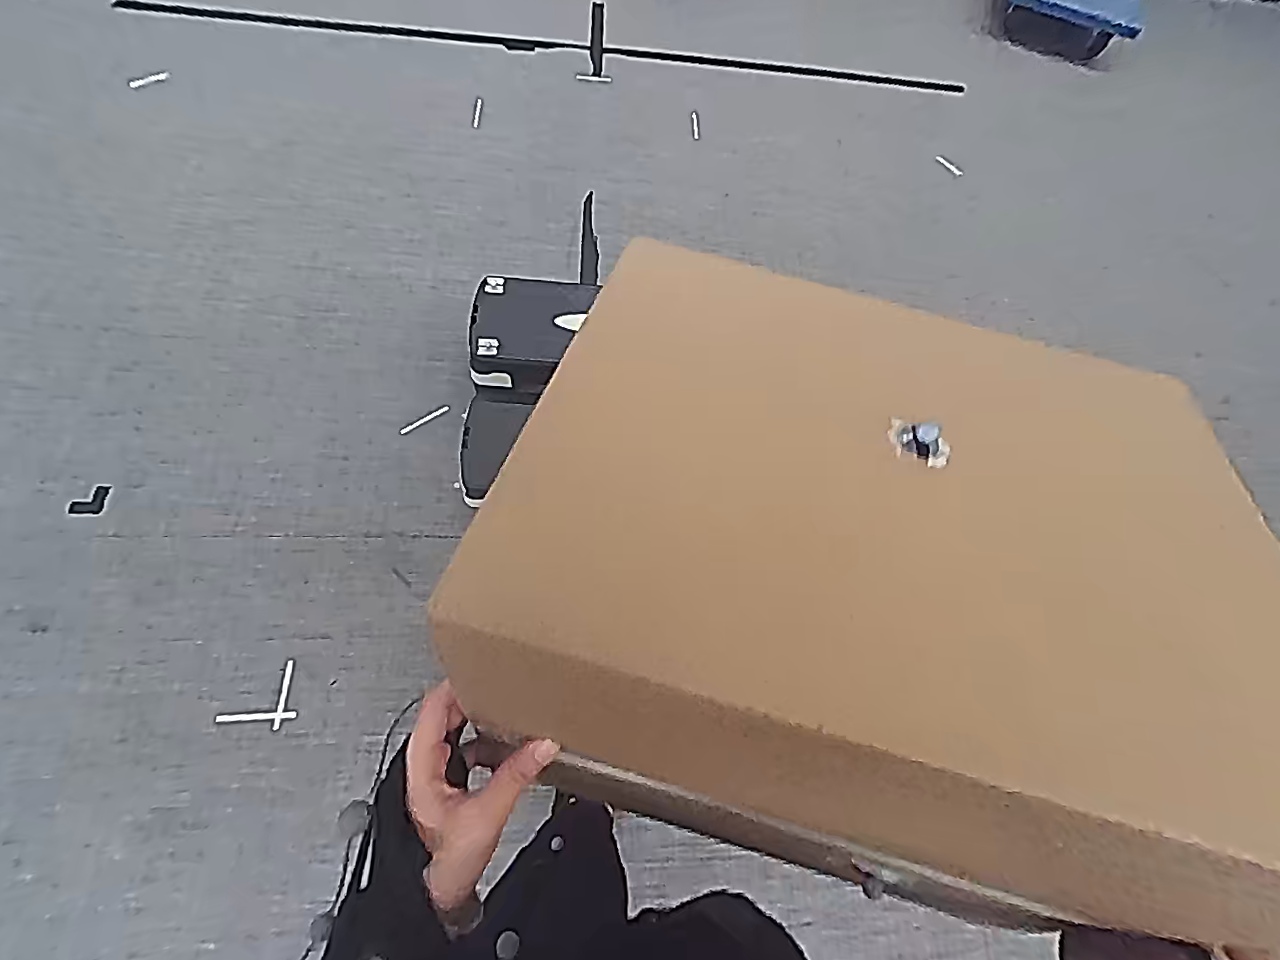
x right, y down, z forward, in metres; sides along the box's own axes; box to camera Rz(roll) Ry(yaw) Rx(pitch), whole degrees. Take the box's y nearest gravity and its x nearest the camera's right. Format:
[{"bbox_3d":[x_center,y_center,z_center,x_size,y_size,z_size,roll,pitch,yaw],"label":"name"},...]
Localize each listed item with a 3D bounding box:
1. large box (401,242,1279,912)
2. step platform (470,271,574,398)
[{"bbox_3d":[0.114,0.071,0.406,0.408,0.320,0.320,14,54,3],"label":"large box"},{"bbox_3d":[-0.102,-0.361,1.468,0.684,0.204,0.286,7,66,-5],"label":"step platform"}]
